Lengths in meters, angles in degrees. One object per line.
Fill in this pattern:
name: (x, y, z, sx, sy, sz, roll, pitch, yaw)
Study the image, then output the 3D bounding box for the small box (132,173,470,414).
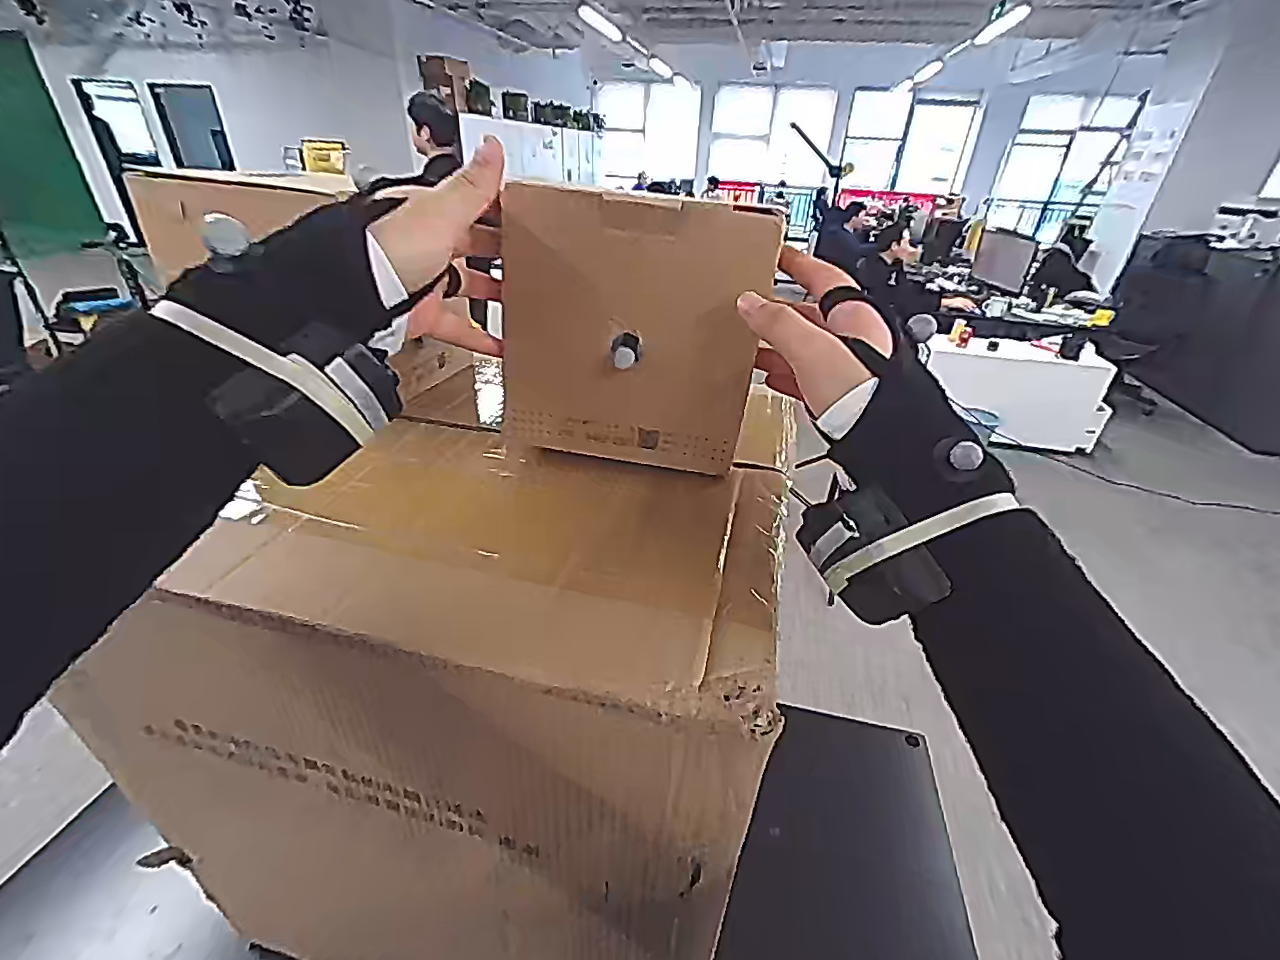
small box: (-0.273, -0.169, 0.481, 0.179, 0.176, 0.168, 10, 30, 10)

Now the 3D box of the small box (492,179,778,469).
small box: (0.000, -0.123, 0.411, 0.168, 0.176, 0.179, 9, 28, 3)
